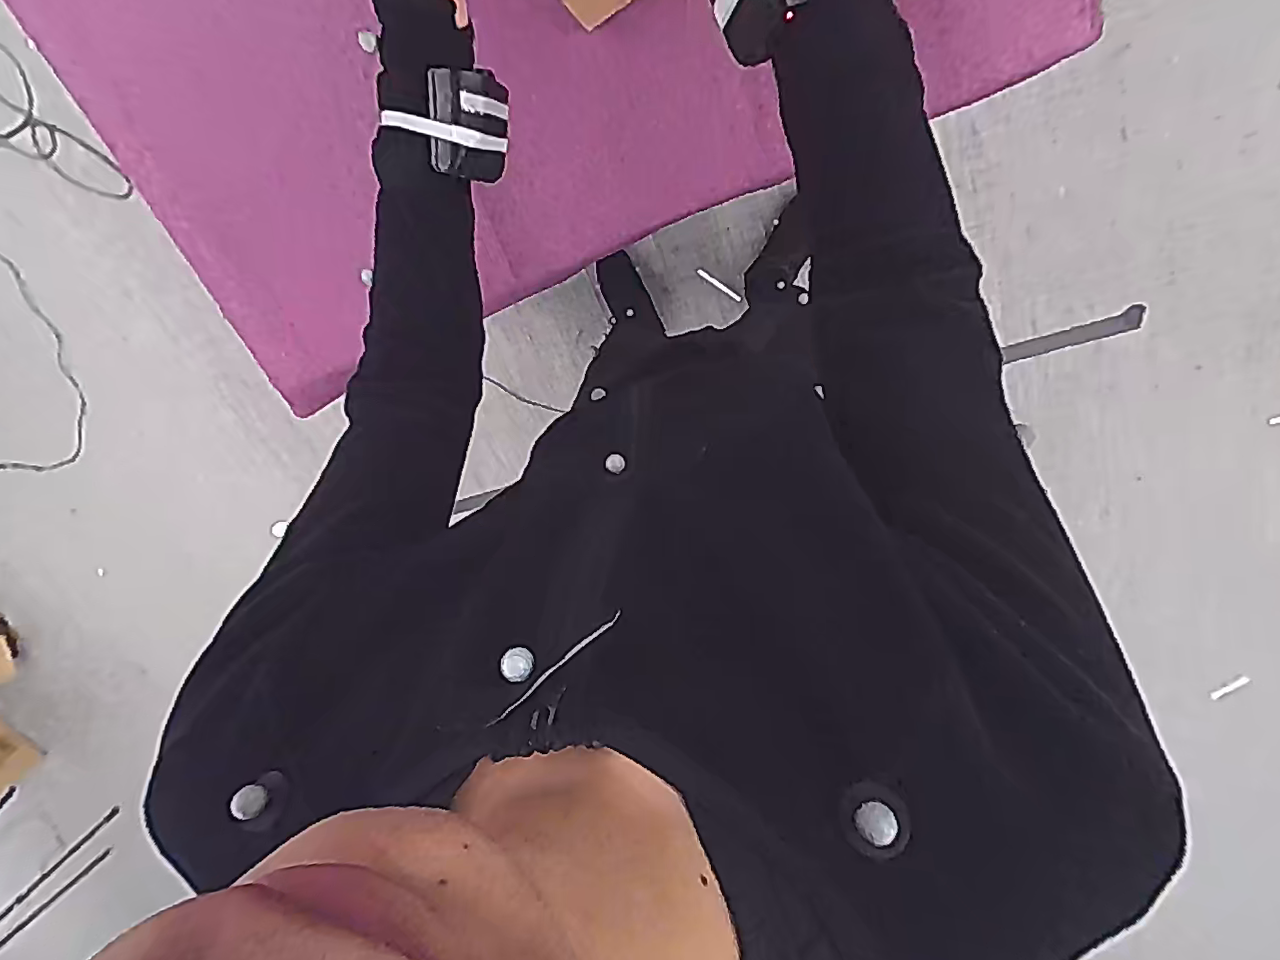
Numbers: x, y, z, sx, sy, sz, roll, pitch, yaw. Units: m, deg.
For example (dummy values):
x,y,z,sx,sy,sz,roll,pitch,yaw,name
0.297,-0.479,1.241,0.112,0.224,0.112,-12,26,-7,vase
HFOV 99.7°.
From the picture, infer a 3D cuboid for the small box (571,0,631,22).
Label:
x,y,z,sx,sy,sz,roll,pitch,yaw,name
-0.038,-0.591,0.510,0.168,0.176,0.179,-20,113,19,small box
